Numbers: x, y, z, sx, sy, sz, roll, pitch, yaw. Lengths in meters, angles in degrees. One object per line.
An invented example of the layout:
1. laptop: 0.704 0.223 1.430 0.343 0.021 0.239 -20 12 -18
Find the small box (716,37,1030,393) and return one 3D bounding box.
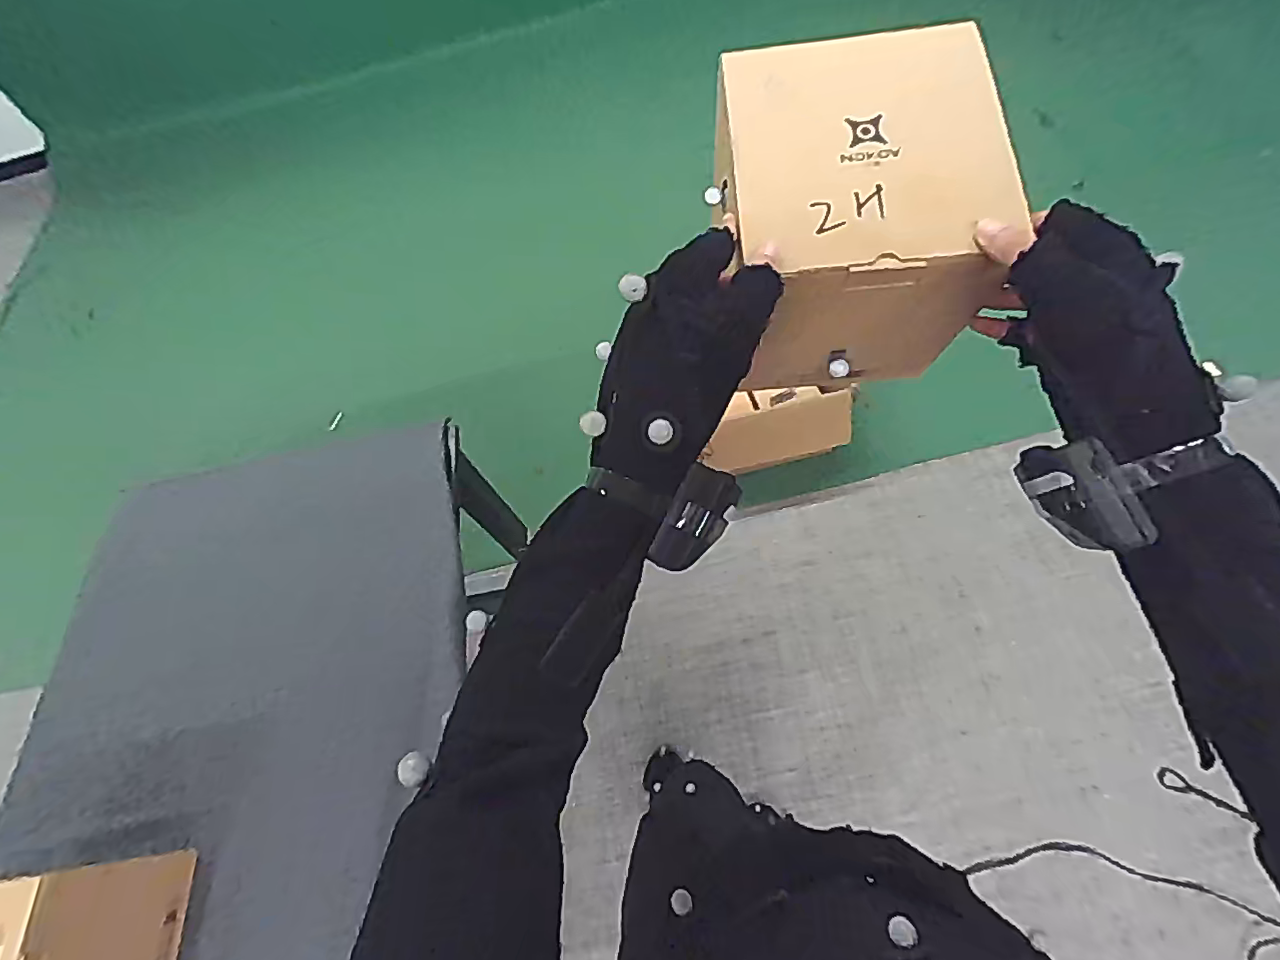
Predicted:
1. small box: 0.148 -0.184 0.416 0.168 0.176 0.179 -3 75 5
